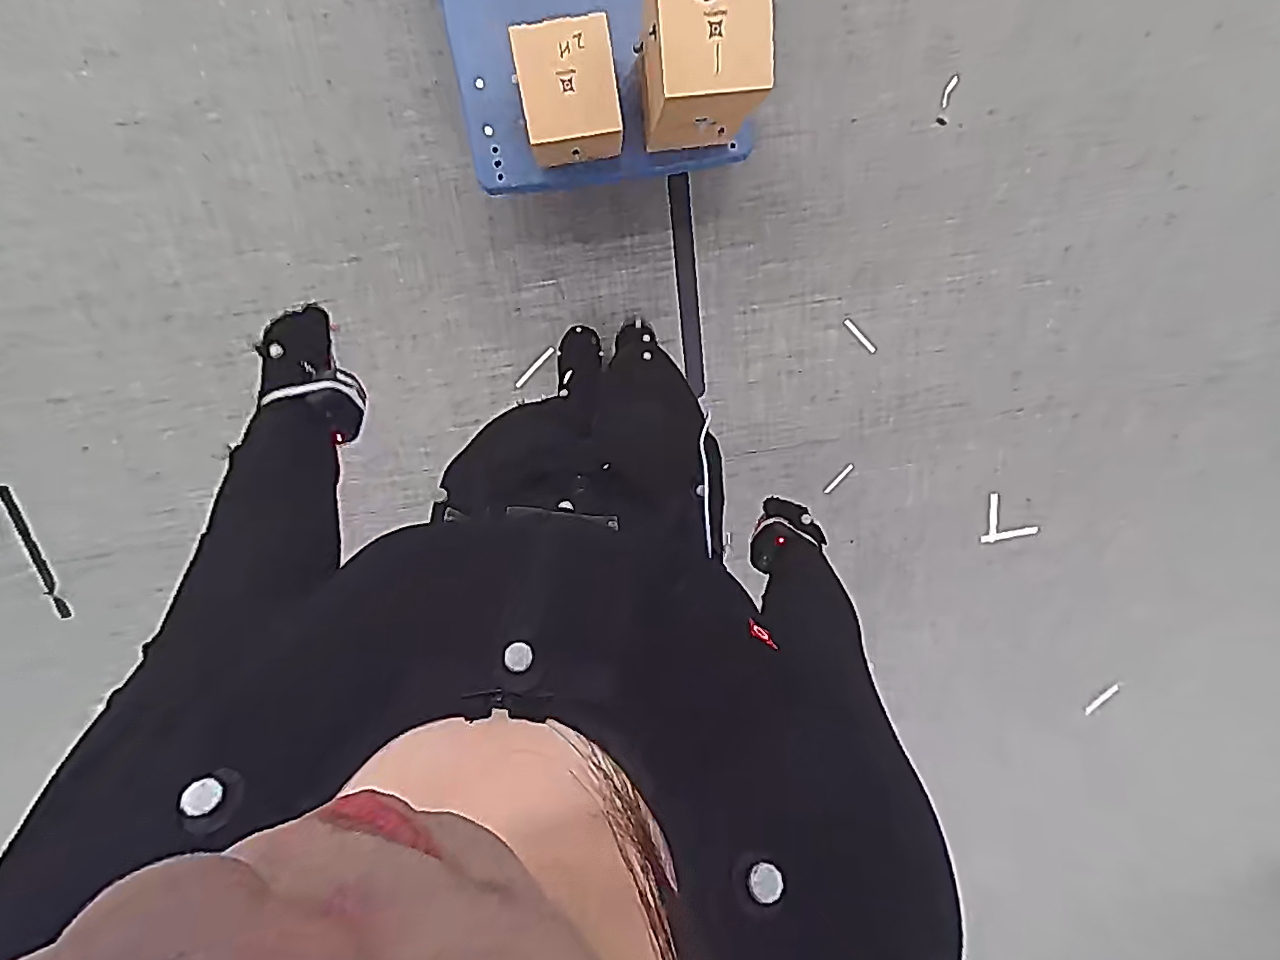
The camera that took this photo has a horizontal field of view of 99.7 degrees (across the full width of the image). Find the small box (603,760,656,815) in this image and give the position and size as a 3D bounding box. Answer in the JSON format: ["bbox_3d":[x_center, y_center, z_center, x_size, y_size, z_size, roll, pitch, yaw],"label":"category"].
[{"bbox_3d":[-0.030,1.069,1.795,0.168,0.176,0.179,-8,108,-2],"label":"small box"}]

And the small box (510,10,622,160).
[{"bbox_3d":[-0.126,-0.705,0.990,0.168,0.176,0.179,-10,108,-1],"label":"small box"}]

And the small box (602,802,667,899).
[{"bbox_3d":[-0.018,1.117,1.639,0.179,0.176,0.168,-9,109,-1],"label":"small box"}]

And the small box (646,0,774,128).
[{"bbox_3d":[0.103,-0.678,0.842,0.168,0.176,0.179,-6,109,-2],"label":"small box"}]
